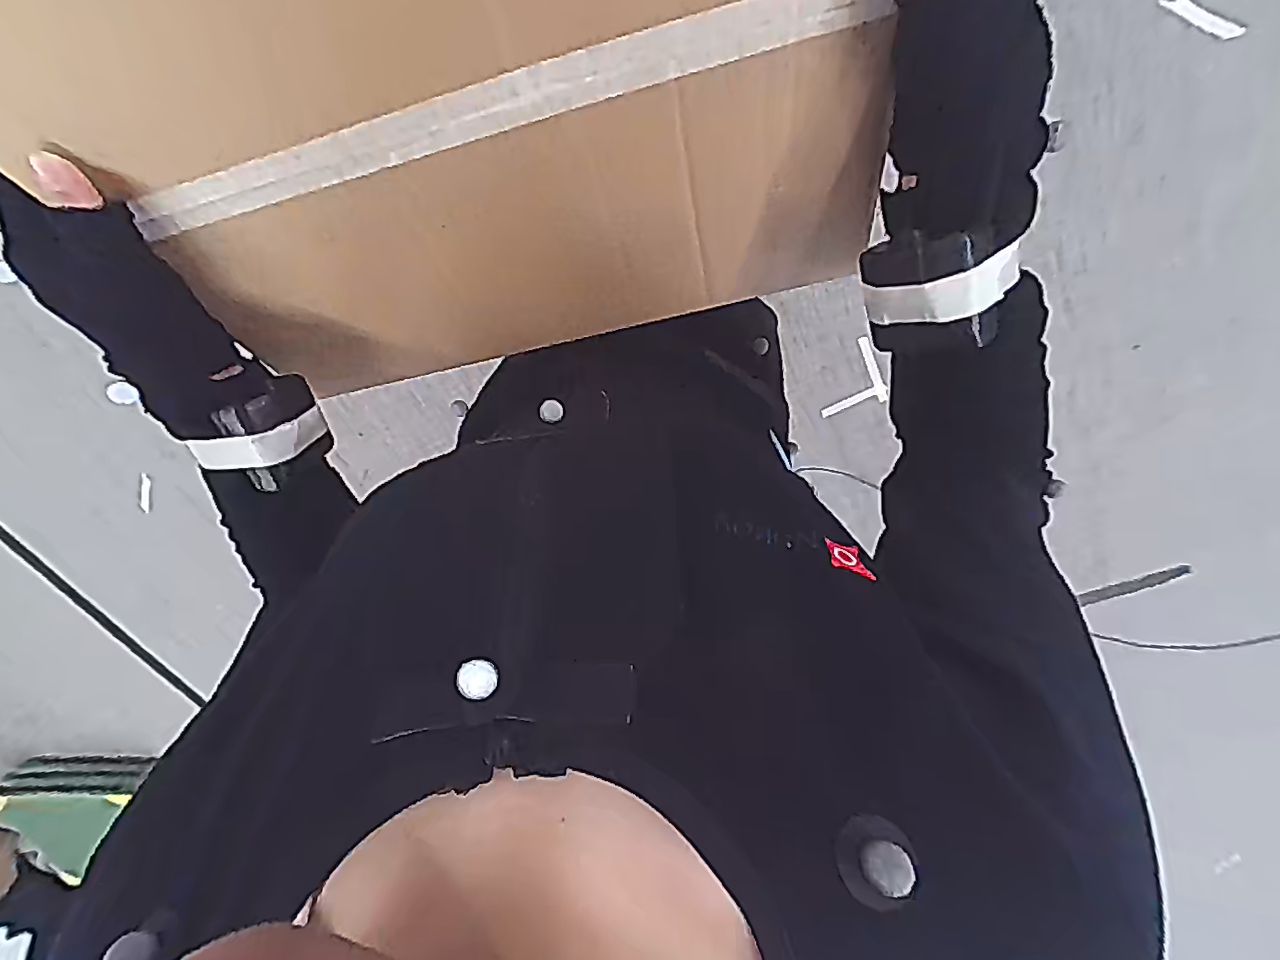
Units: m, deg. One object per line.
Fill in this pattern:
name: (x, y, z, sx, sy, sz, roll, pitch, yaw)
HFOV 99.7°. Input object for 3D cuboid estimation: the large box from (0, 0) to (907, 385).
large box: (-0.095, -0.305, 0.321, 0.408, 0.320, 0.320, -11, 154, 8)
